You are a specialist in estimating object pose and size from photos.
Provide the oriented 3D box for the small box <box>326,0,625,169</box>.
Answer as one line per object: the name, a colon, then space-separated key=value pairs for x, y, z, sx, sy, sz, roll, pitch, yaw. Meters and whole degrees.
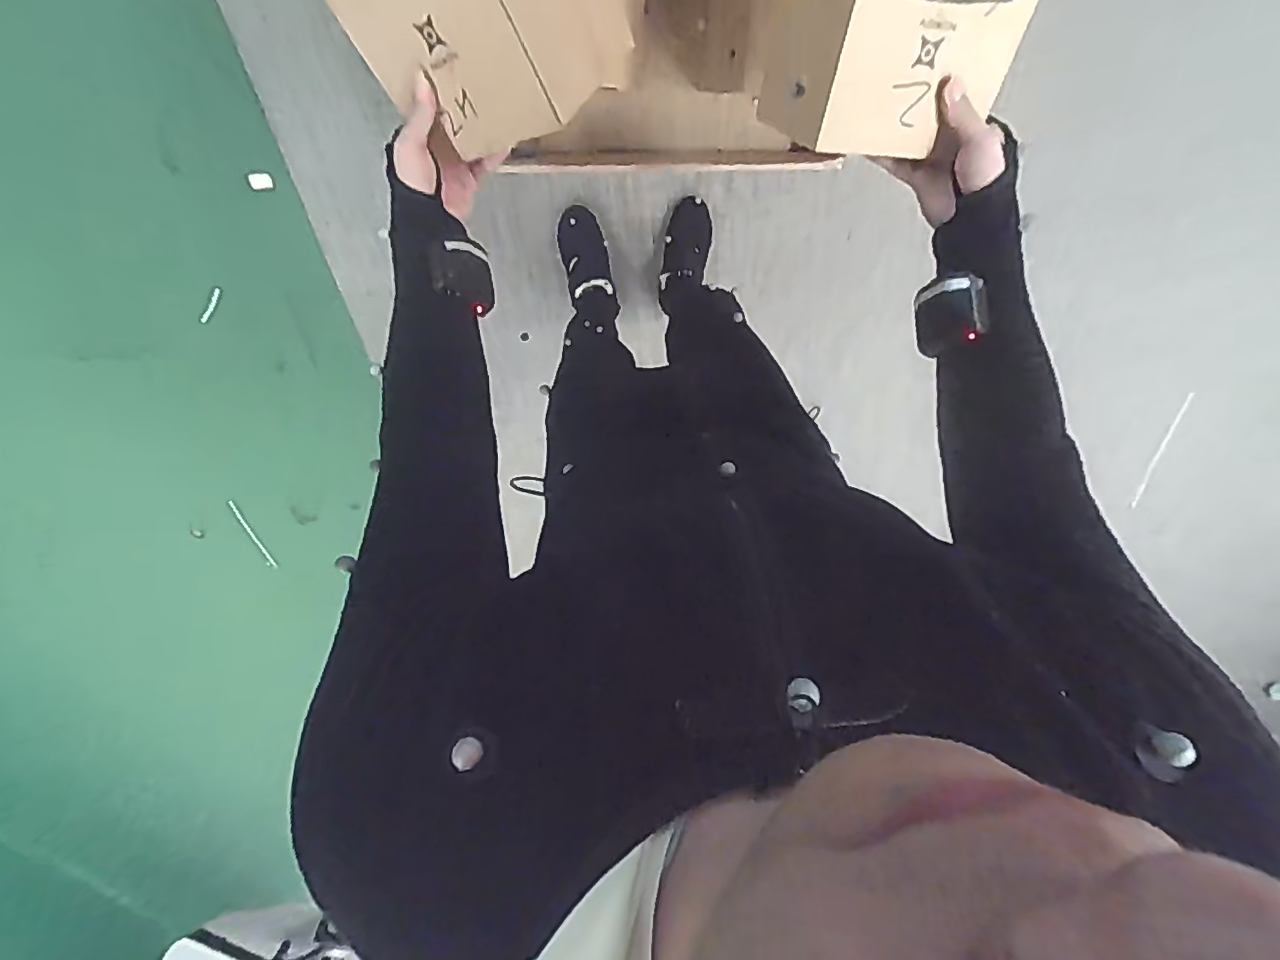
small box: x=-0.141 y=-0.426 z=0.486 sx=0.168 sy=0.176 sz=0.179 roll=6 pitch=147 yaw=34

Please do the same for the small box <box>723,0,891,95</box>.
small box: x=0.206 y=-0.600 z=0.690 sx=0.168 sy=0.176 sz=0.179 roll=-1 pitch=124 yaw=-4
